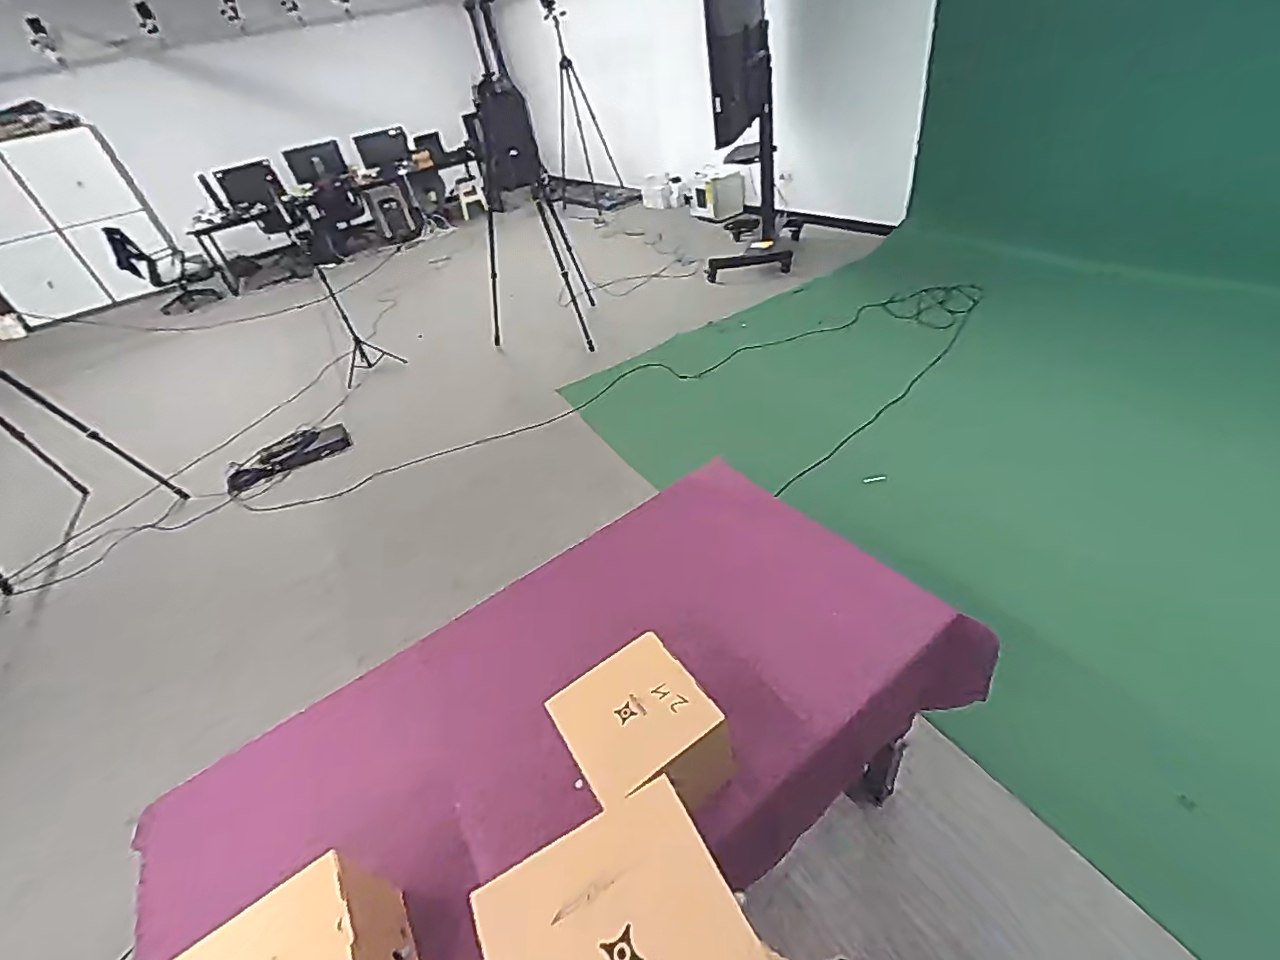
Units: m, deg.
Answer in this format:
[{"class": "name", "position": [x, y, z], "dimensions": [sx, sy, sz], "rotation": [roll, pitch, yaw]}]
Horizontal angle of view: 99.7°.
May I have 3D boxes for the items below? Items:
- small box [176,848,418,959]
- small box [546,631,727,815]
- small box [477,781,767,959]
[{"class": "small box", "position": [-0.356, 0.556, 0.579], "dimensions": [0.179, 0.176, 0.168], "rotation": [-29, 41, -22]}, {"class": "small box", "position": [0.003, 0.351, 0.731], "dimensions": [0.179, 0.176, 0.168], "rotation": [-29, 42, -20]}, {"class": "small box", "position": [-0.002, 0.377, 0.407], "dimensions": [0.168, 0.176, 0.179], "rotation": [-21, 43, -19]}]
